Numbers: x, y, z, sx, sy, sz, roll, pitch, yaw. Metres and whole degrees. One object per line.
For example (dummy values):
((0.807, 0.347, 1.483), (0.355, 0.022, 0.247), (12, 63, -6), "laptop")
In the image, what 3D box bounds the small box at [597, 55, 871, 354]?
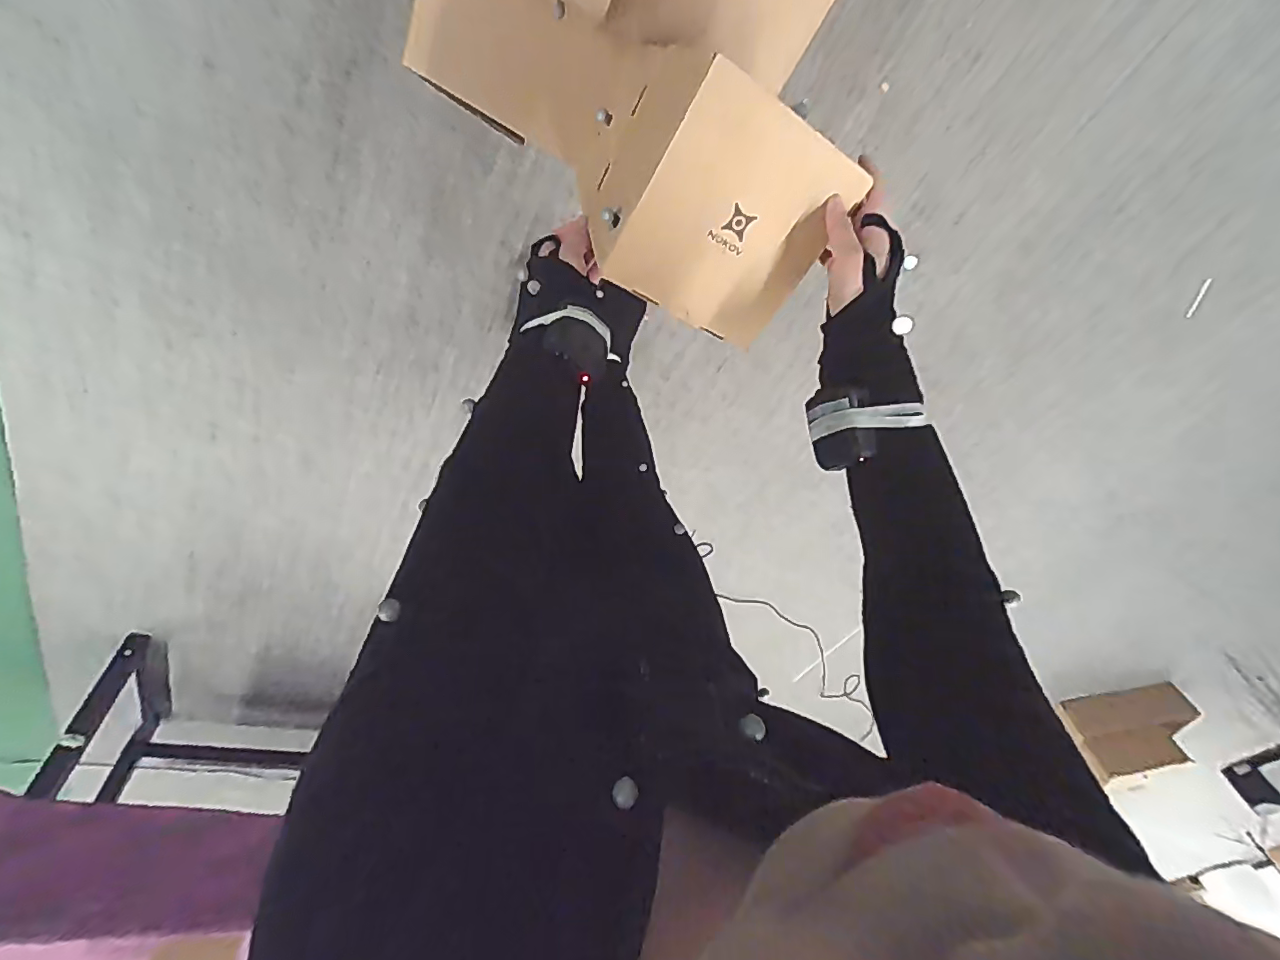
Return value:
((0.068, -0.260, 0.510), (0.168, 0.176, 0.179), (21, 125, -25), "small box")

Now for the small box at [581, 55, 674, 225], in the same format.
((0.045, -0.363, 0.635), (0.179, 0.176, 0.168), (20, 124, -25), "small box")

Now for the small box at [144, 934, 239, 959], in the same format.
((-1.066, 1.177, 1.253), (0.179, 0.176, 0.168), (19, 126, -23), "small box")
